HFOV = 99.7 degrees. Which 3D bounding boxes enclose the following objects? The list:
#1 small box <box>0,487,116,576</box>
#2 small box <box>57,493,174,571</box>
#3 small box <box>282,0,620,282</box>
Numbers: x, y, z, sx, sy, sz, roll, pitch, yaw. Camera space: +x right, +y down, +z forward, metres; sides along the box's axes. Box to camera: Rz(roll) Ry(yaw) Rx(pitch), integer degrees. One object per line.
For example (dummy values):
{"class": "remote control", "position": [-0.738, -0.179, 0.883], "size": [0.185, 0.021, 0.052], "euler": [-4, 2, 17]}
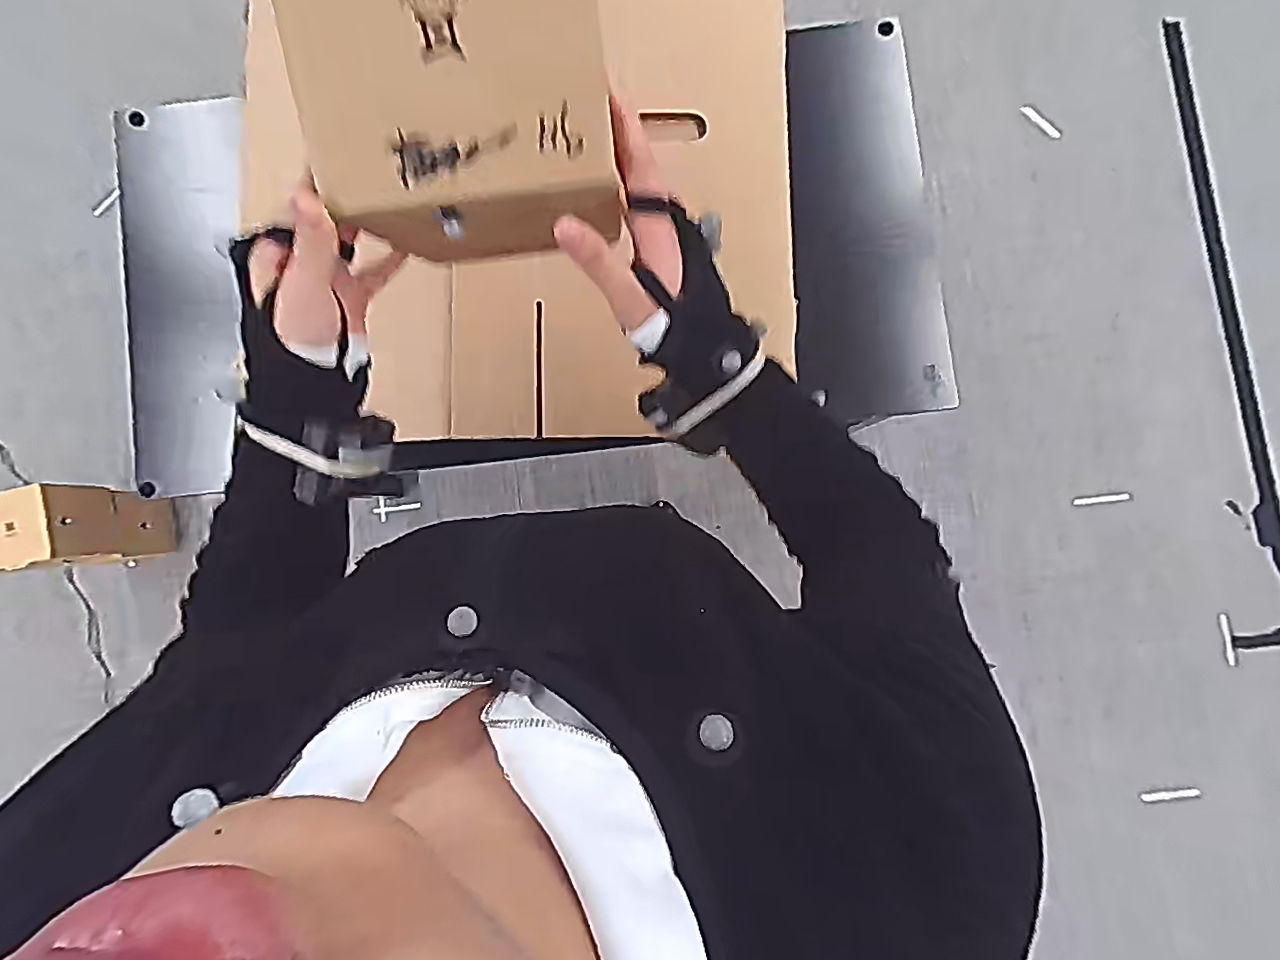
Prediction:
{"class": "small box", "position": [-1.401, 0.121, 1.278], "size": [0.168, 0.176, 0.179], "euler": [-14, 85, -1]}
{"class": "small box", "position": [-1.397, 0.138, 1.439], "size": [0.168, 0.176, 0.179], "euler": [-11, 87, 0]}
{"class": "small box", "position": [-0.104, -0.246, 0.365], "size": [0.168, 0.176, 0.179], "euler": [-7, 101, 0]}
